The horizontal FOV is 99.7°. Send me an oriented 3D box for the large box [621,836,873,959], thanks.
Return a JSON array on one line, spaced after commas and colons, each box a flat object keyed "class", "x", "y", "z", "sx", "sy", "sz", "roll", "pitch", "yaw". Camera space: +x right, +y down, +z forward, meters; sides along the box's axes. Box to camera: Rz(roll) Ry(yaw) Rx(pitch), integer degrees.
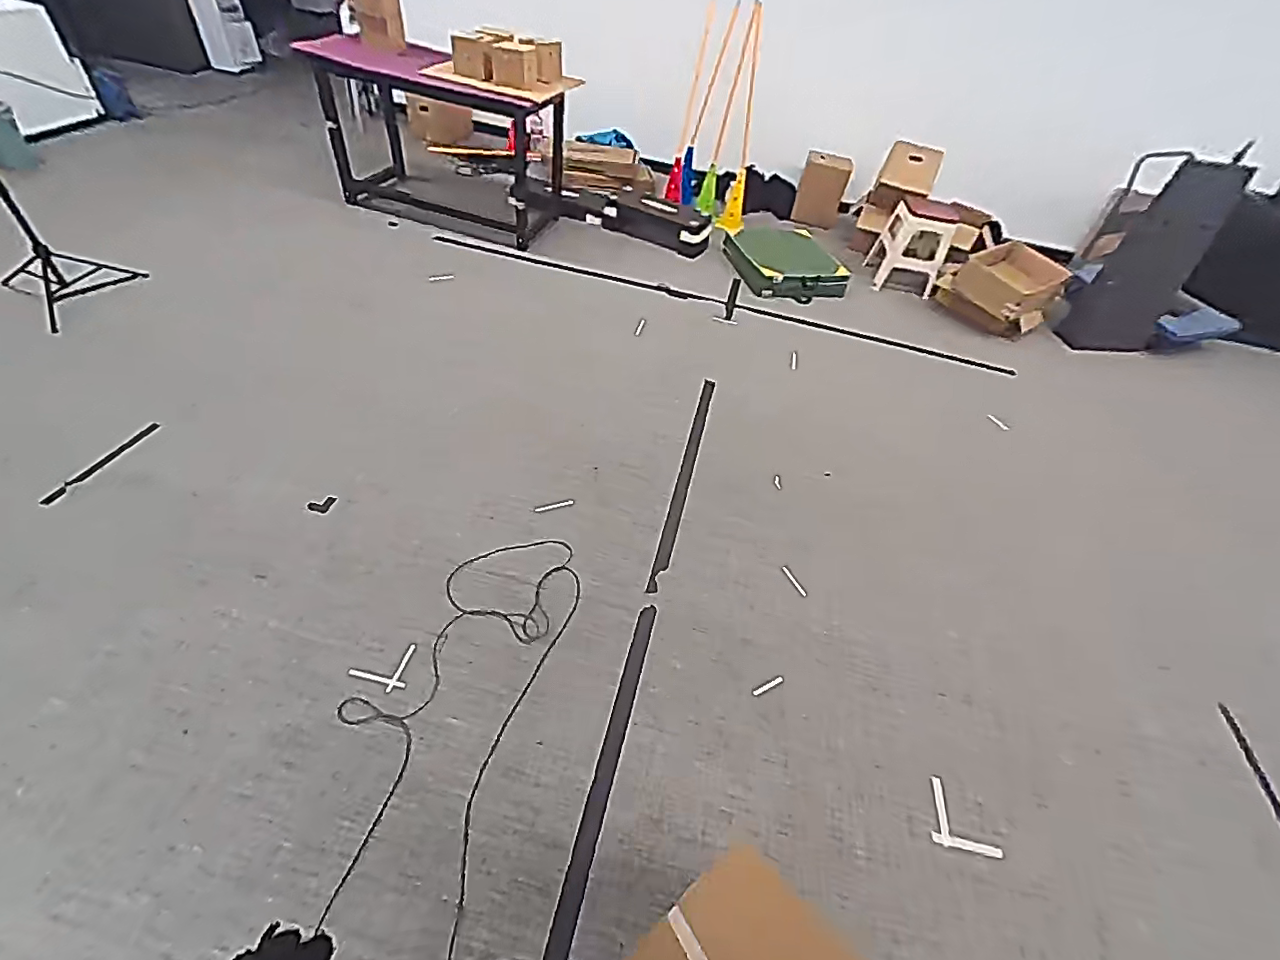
[{"class": "large box", "x": 0.200, "y": 0.773, "z": 0.681, "sx": 0.320, "sy": 0.408, "sz": 0.320, "roll": -36, "pitch": 94, "yaw": -17}]
